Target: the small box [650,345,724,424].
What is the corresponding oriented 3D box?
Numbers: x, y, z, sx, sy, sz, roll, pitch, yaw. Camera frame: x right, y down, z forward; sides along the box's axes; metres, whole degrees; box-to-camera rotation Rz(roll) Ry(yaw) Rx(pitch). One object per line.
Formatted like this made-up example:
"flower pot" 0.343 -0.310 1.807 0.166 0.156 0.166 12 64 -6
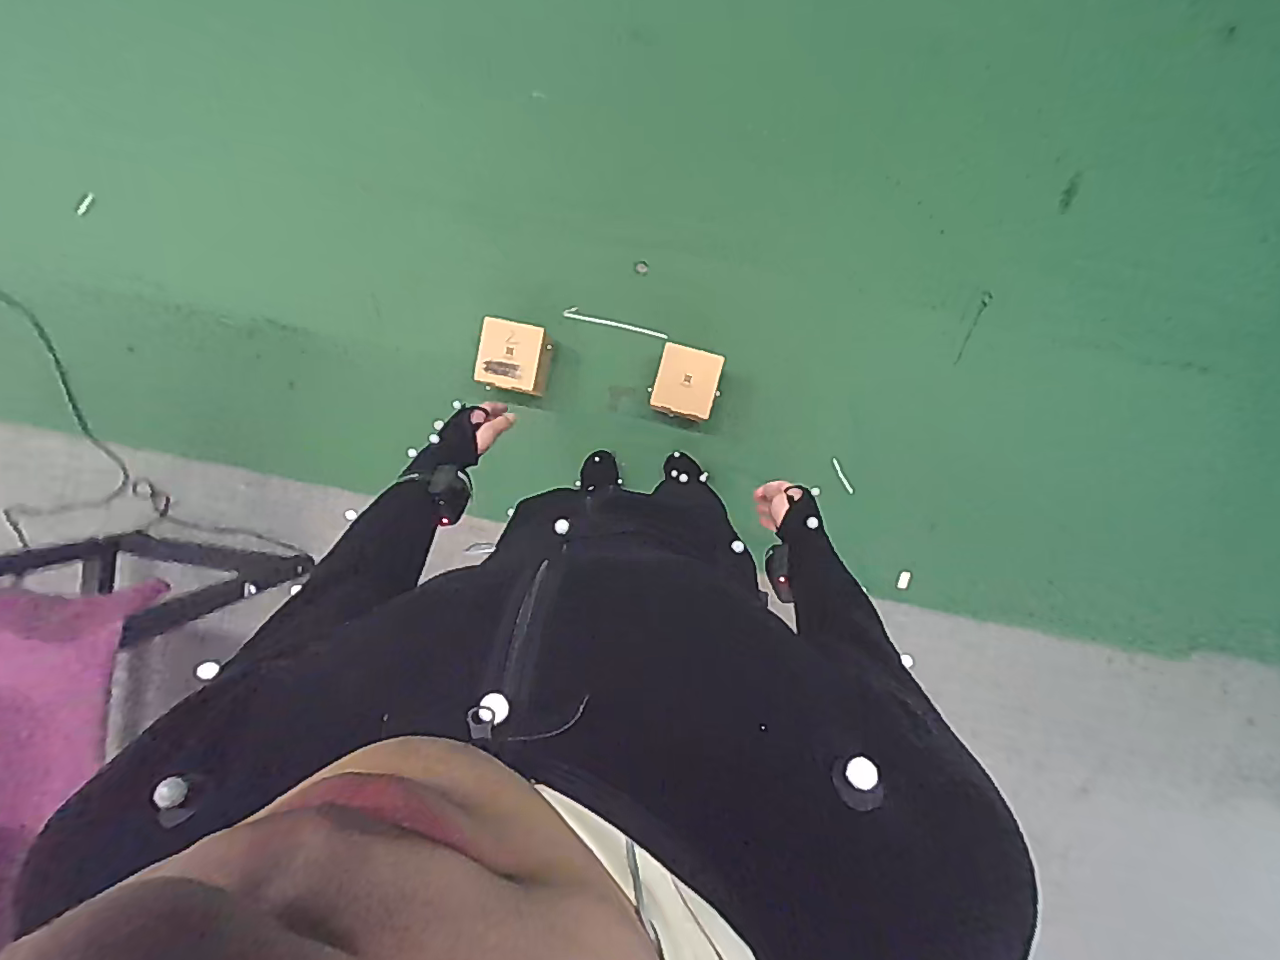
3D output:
"small box" 0.126 -0.265 1.533 0.168 0.176 0.179 15 95 -1
